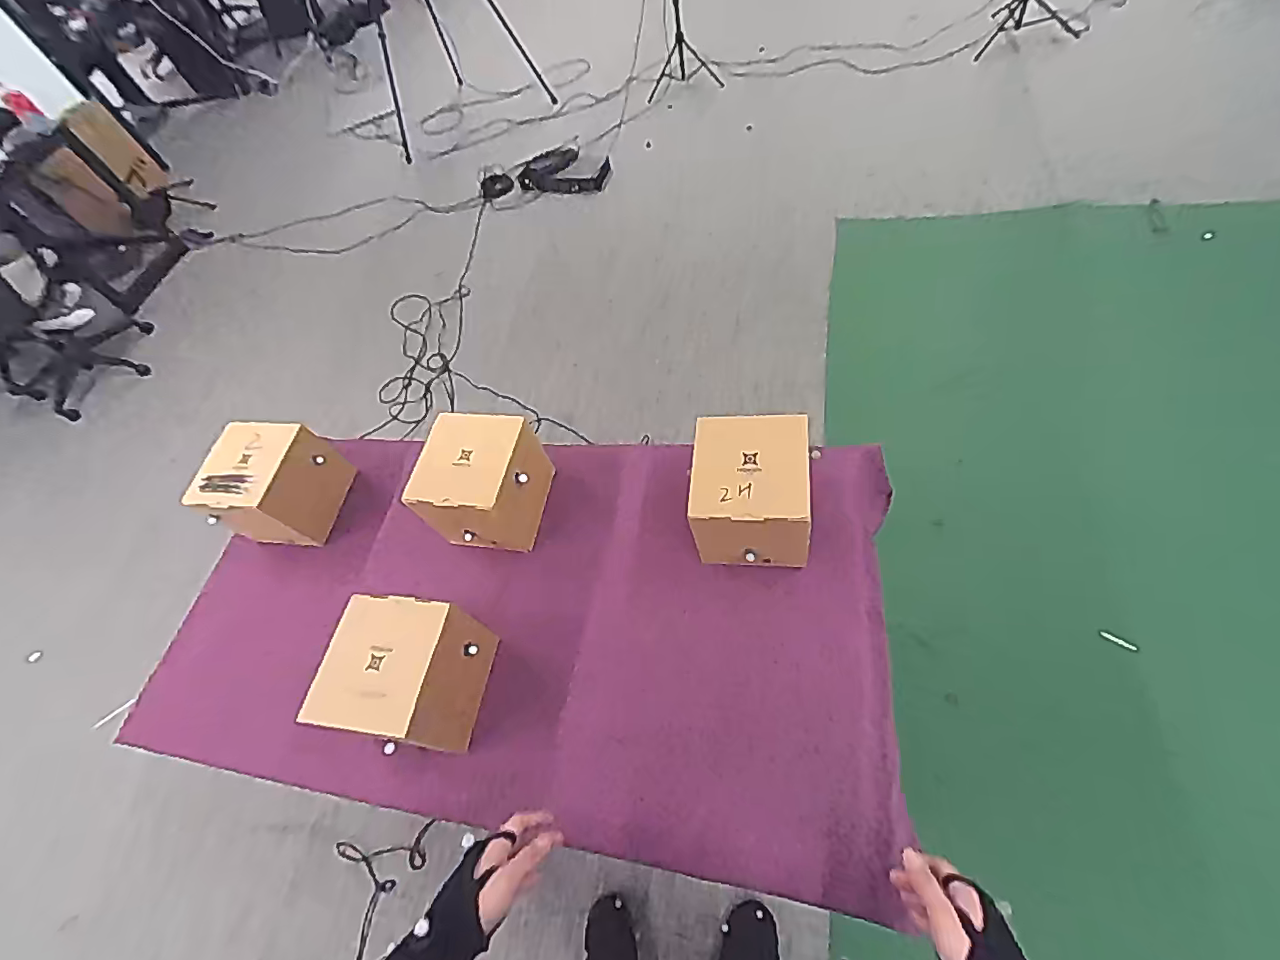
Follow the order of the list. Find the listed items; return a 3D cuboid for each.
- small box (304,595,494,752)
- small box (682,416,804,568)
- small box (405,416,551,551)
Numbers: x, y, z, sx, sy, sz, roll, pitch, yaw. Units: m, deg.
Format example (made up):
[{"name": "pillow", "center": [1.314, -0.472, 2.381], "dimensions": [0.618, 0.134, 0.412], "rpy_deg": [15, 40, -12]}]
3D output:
[{"name": "small box", "center": [-0.339, 0.289, 0.803], "dimensions": [0.168, 0.176, 0.179], "rpy_deg": [2, 59, 16]}, {"name": "small box", "center": [0.167, 0.021, 0.838], "dimensions": [0.168, 0.176, 0.179], "rpy_deg": [0, 60, 17]}, {"name": "small box", "center": [-0.272, 0.009, 0.958], "dimensions": [0.168, 0.176, 0.179], "rpy_deg": [4, 63, 15]}]
